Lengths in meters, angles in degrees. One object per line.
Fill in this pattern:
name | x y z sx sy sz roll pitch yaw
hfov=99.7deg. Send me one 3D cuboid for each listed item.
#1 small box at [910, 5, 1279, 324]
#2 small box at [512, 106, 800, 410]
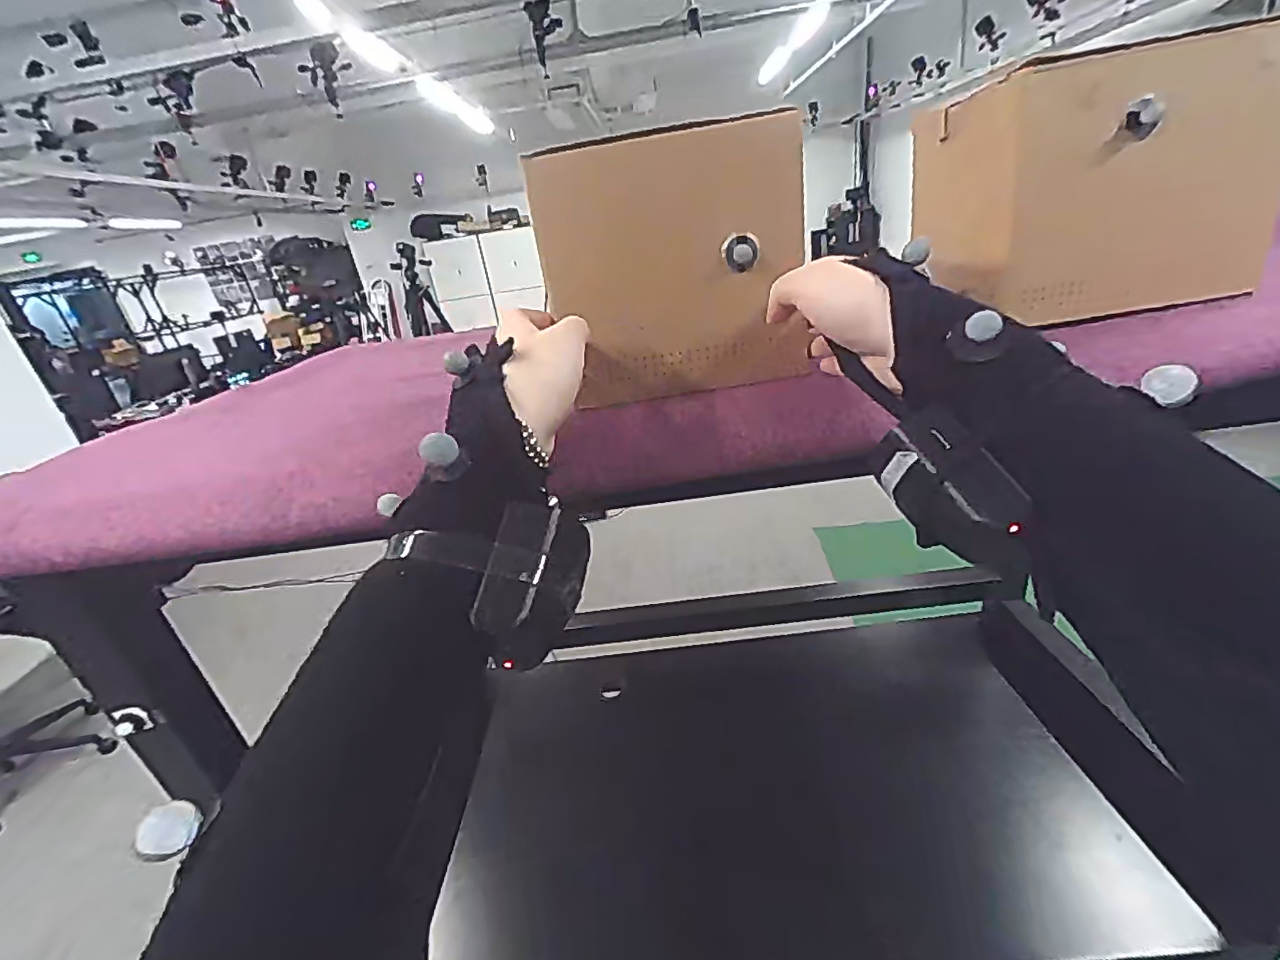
small box | 0.336 -0.227 0.430 0.179 0.176 0.168 -7 23 5
small box | 0.018 -0.168 0.427 0.179 0.176 0.168 -10 25 2
